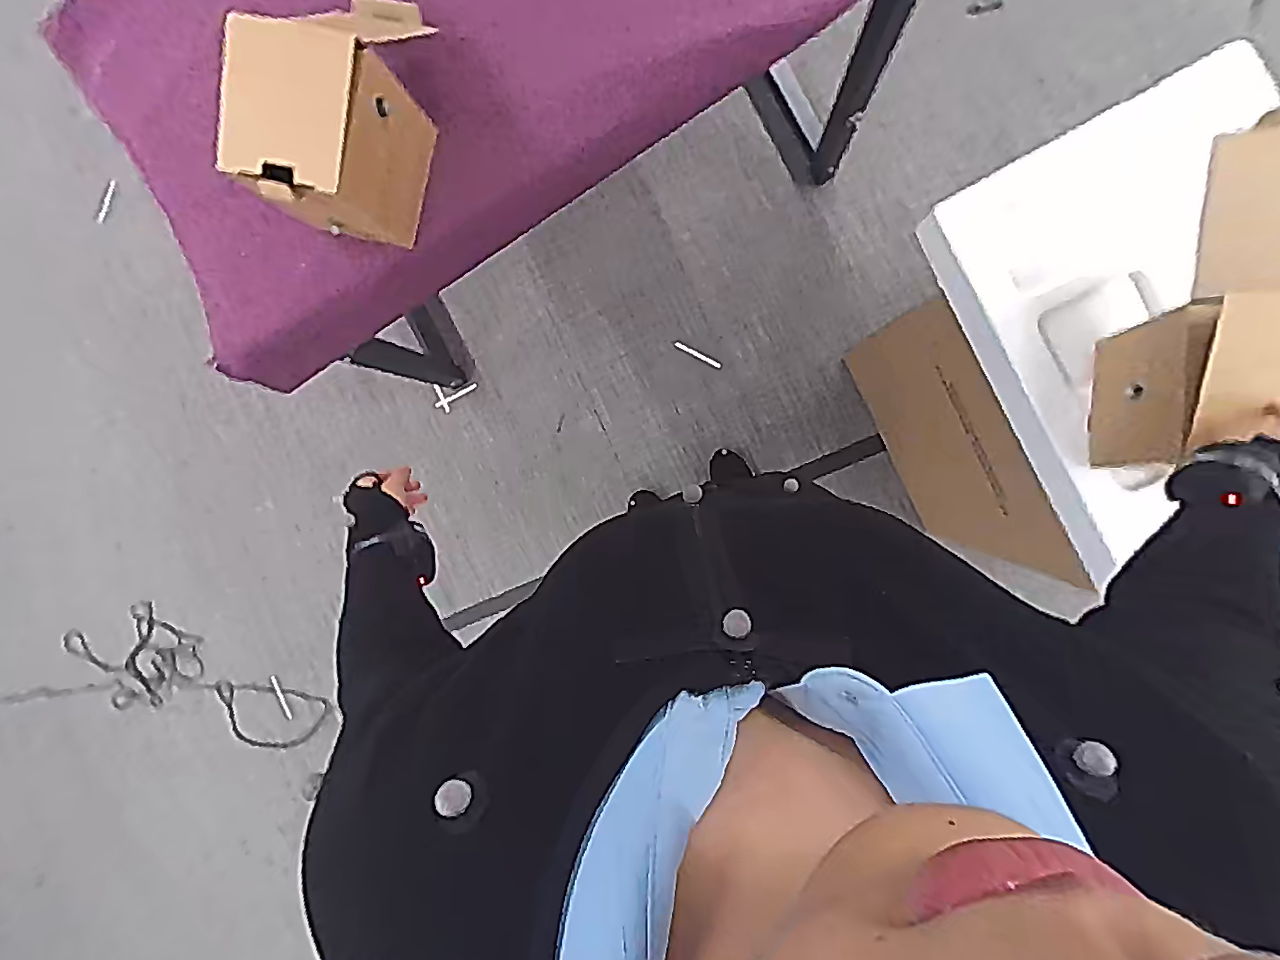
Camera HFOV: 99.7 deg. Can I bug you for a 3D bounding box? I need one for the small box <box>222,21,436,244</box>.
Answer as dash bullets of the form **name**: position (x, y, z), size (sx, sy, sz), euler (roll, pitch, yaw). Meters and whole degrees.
- **small box**: position (-0.397, -0.446, 0.719), size (0.168, 0.176, 0.179), euler (15, 94, 7)
